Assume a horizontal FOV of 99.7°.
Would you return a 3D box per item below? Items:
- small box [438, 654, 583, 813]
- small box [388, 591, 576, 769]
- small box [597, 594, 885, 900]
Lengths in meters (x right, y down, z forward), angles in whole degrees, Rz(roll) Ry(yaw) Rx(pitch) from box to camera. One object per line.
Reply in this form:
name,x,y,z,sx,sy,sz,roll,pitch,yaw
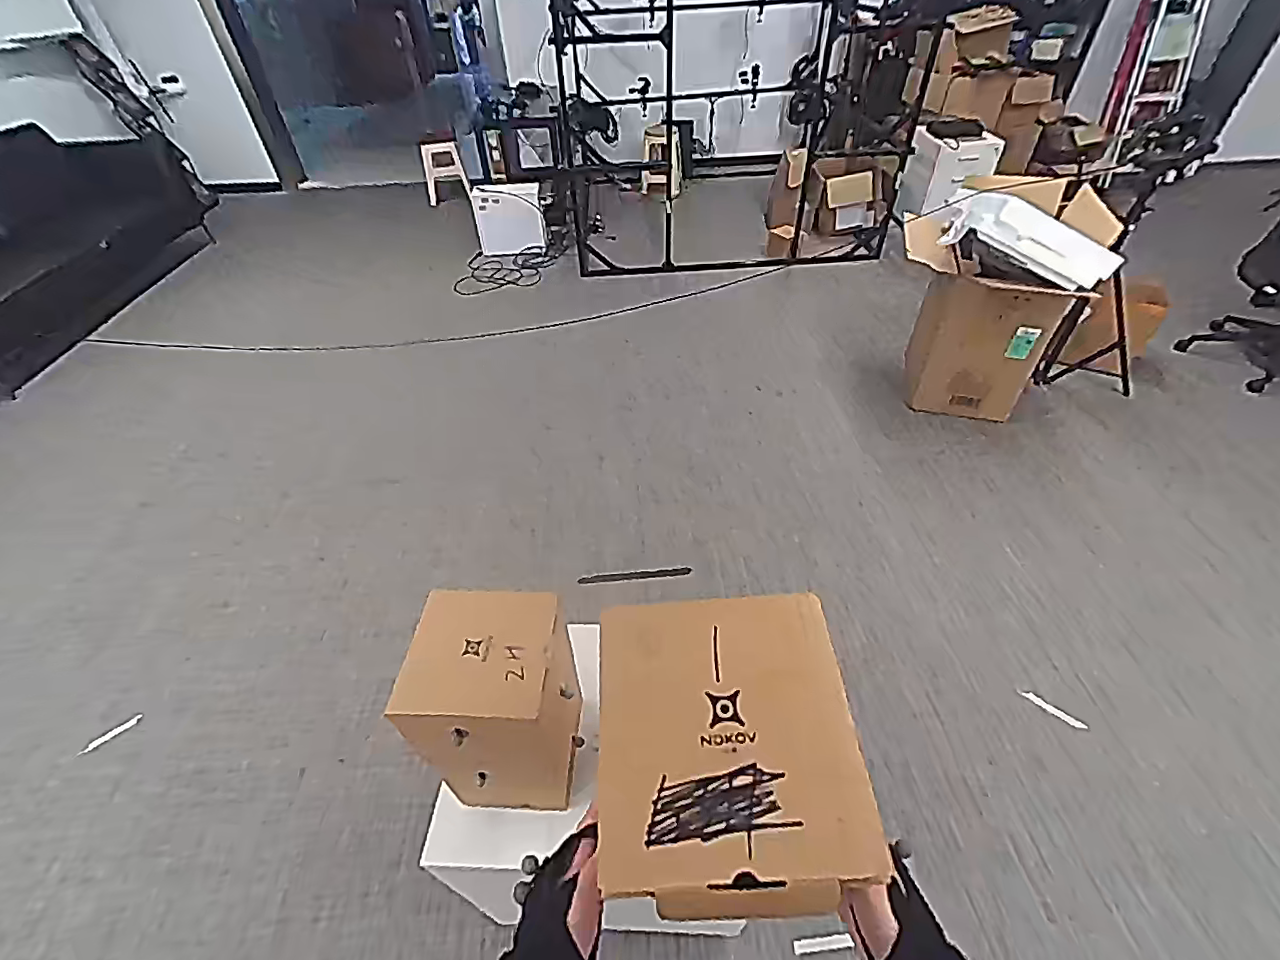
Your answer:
small box,-0.184,0.380,0.826,0.168,0.176,0.179,1,43,4
small box,-0.189,0.263,0.709,0.179,0.176,0.168,1,45,3
small box,0.061,0.208,0.416,0.168,0.176,0.179,-4,52,2
